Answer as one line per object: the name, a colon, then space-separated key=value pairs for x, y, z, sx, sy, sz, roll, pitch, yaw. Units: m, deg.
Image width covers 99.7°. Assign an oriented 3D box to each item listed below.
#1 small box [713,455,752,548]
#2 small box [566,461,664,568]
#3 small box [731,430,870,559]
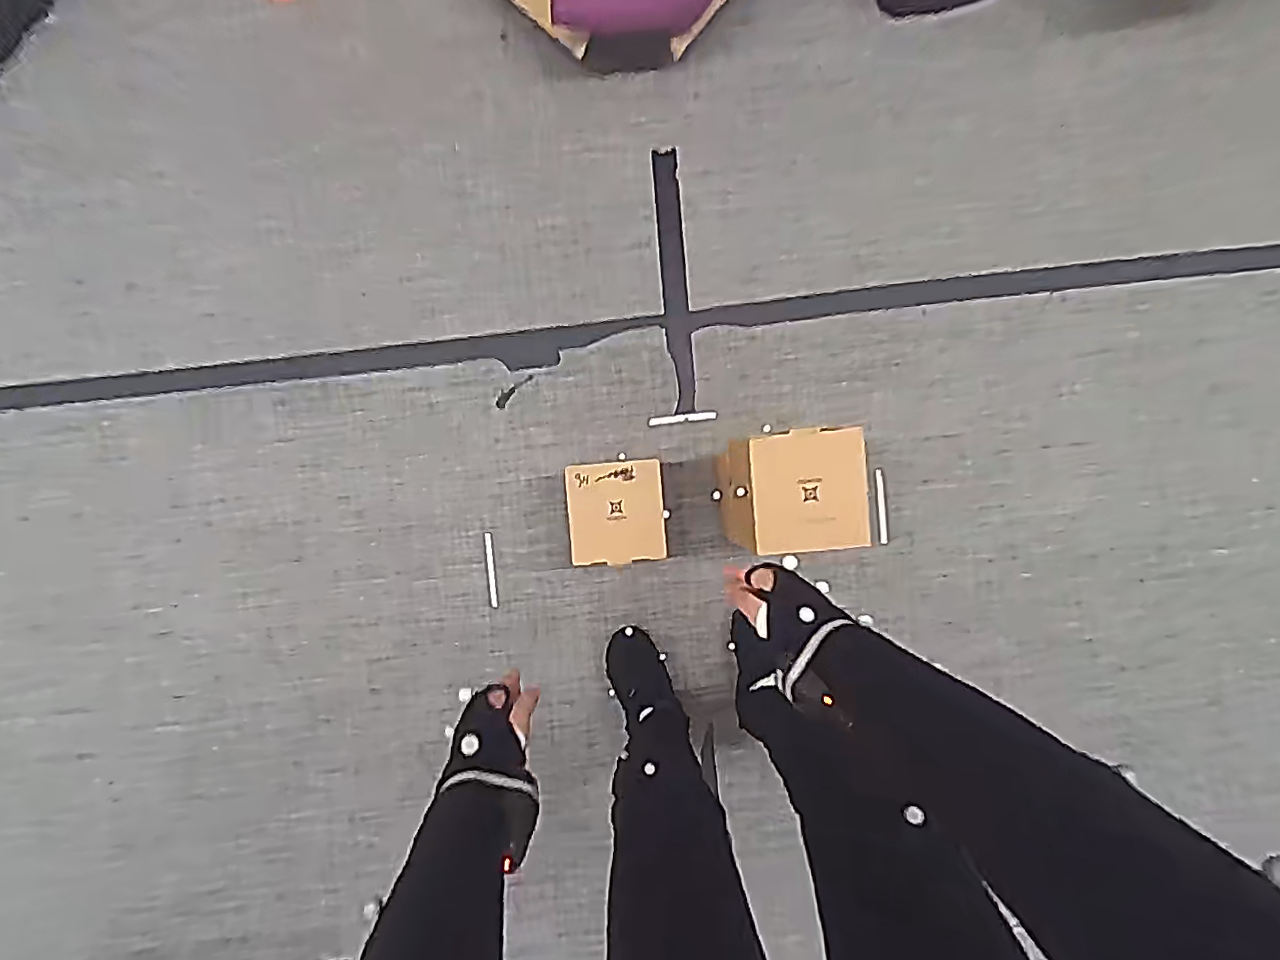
small box: x=0.245 y=0.027 z=1.010 sx=0.179 sy=0.176 sz=0.168 roll=-7 pitch=90 yaw=-3
small box: x=-0.041 y=0.058 z=1.011 sx=0.168 sy=0.176 sz=0.179 roll=-4 pitch=92 yaw=0
small box: x=0.242 y=0.019 z=0.851 sx=0.168 sy=0.176 sz=0.179 roll=-5 pitch=93 yaw=0
